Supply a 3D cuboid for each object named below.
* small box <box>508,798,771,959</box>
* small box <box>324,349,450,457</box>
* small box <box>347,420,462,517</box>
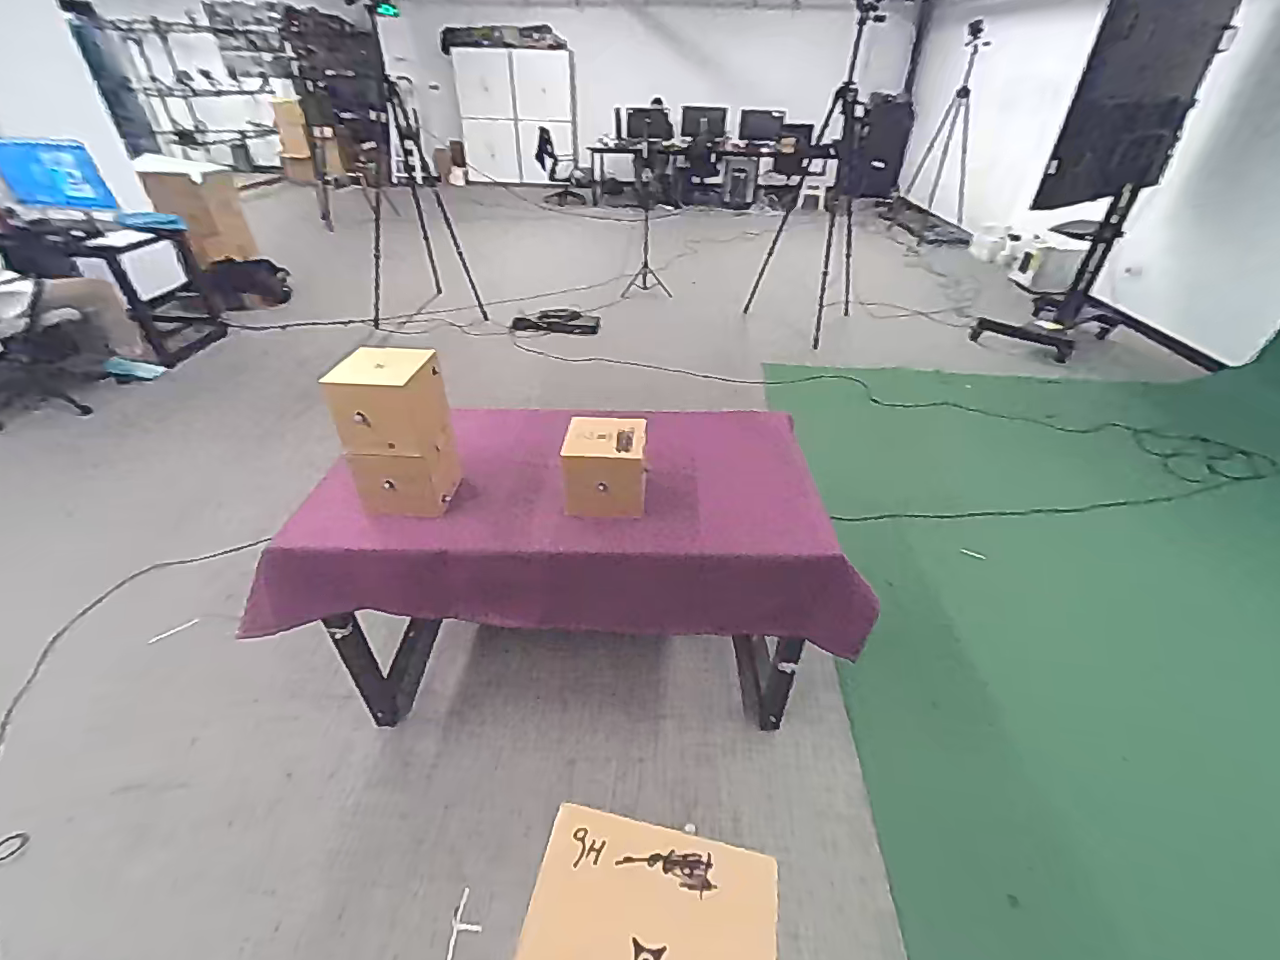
[{"bbox_3d":[-0.005,0.373,0.395,0.168,0.176,0.179,10,42,8],"label":"small box"},{"bbox_3d":[-0.515,-0.161,1.135,0.168,0.176,0.179,3,35,2],"label":"small box"},{"bbox_3d":[-0.521,-0.029,1.229,0.179,0.176,0.168,2,36,1],"label":"small box"}]
